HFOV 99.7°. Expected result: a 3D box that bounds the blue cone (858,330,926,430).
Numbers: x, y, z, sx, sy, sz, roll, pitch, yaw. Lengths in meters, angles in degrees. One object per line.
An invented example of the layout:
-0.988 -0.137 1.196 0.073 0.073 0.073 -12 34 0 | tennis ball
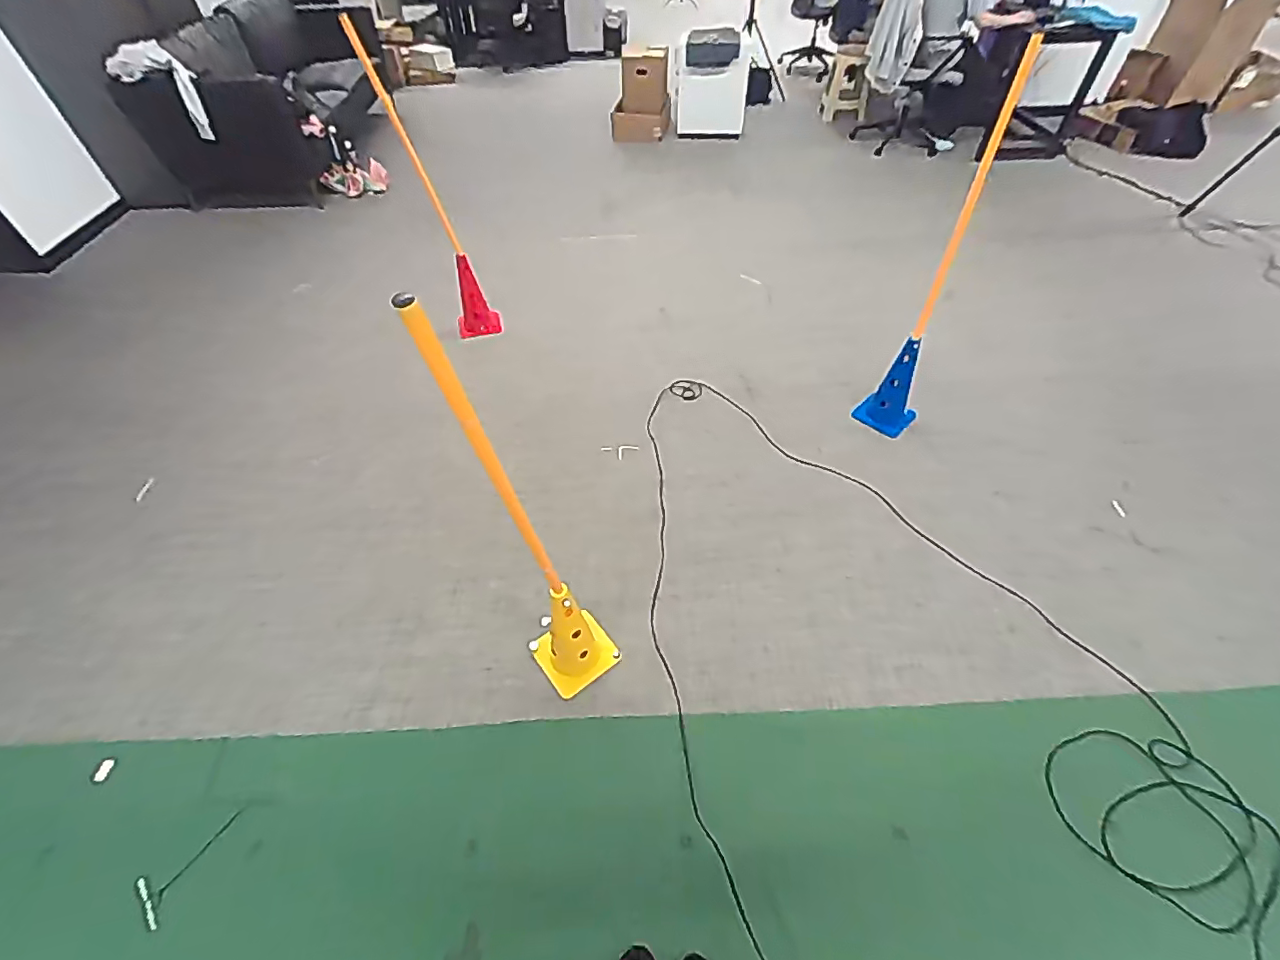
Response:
0.974 -0.393 2.023 0.192 0.380 0.193 34 57 28 | blue cone
